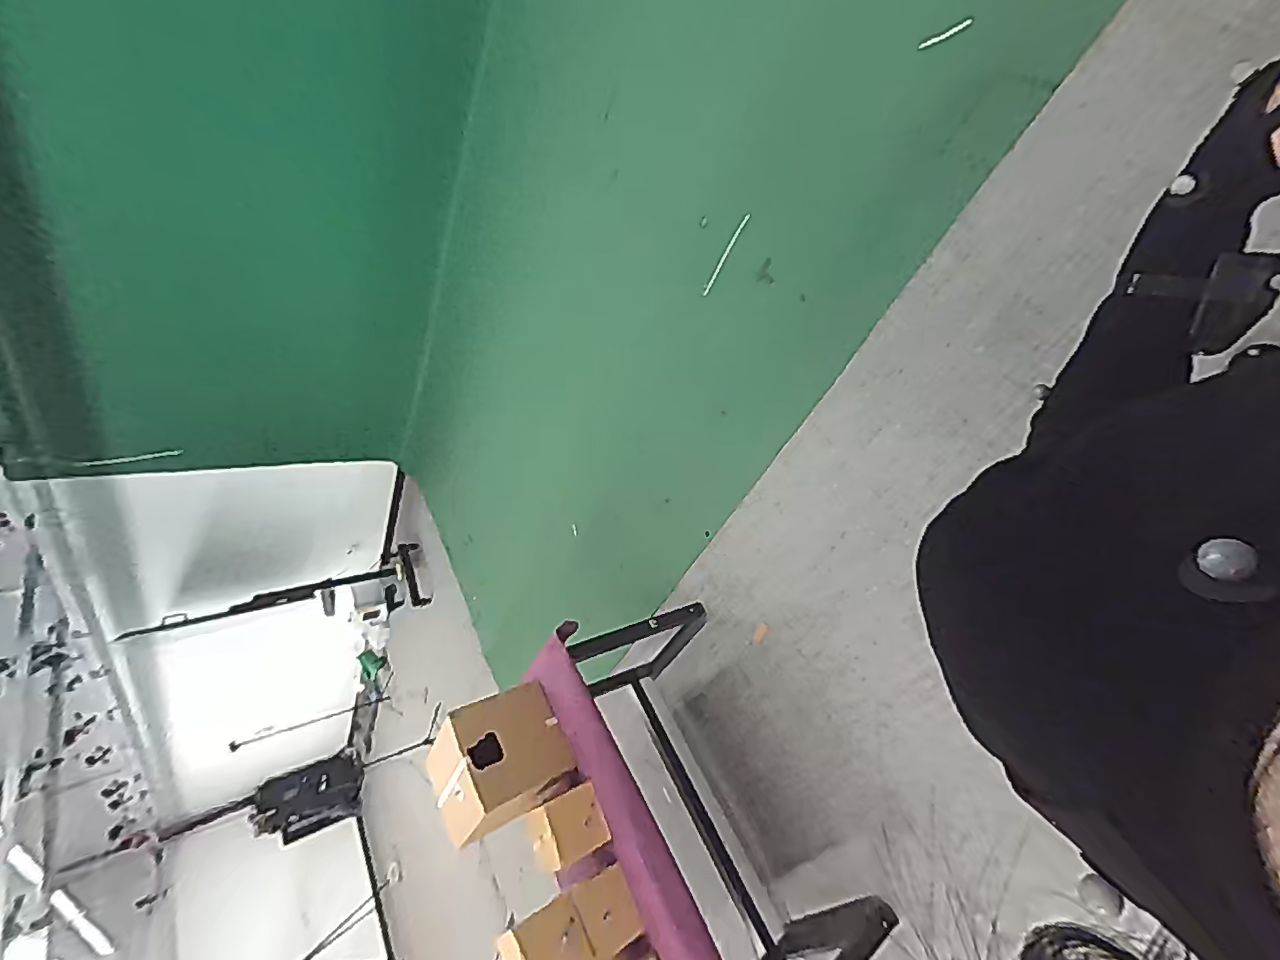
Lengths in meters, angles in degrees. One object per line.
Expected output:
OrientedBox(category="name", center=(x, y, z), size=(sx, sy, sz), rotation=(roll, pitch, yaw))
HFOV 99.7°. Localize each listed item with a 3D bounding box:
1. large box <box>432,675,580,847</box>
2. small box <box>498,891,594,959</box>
OrientedBox(category="large box", center=(-0.451, 0.914, 1.778), size=(0.320, 0.320, 0.408), rotation=(55, 132, 28))
OrientedBox(category="small box", center=(-0.243, 1.214, 1.404), size=(0.168, 0.176, 0.179), rotation=(57, 134, 29))
